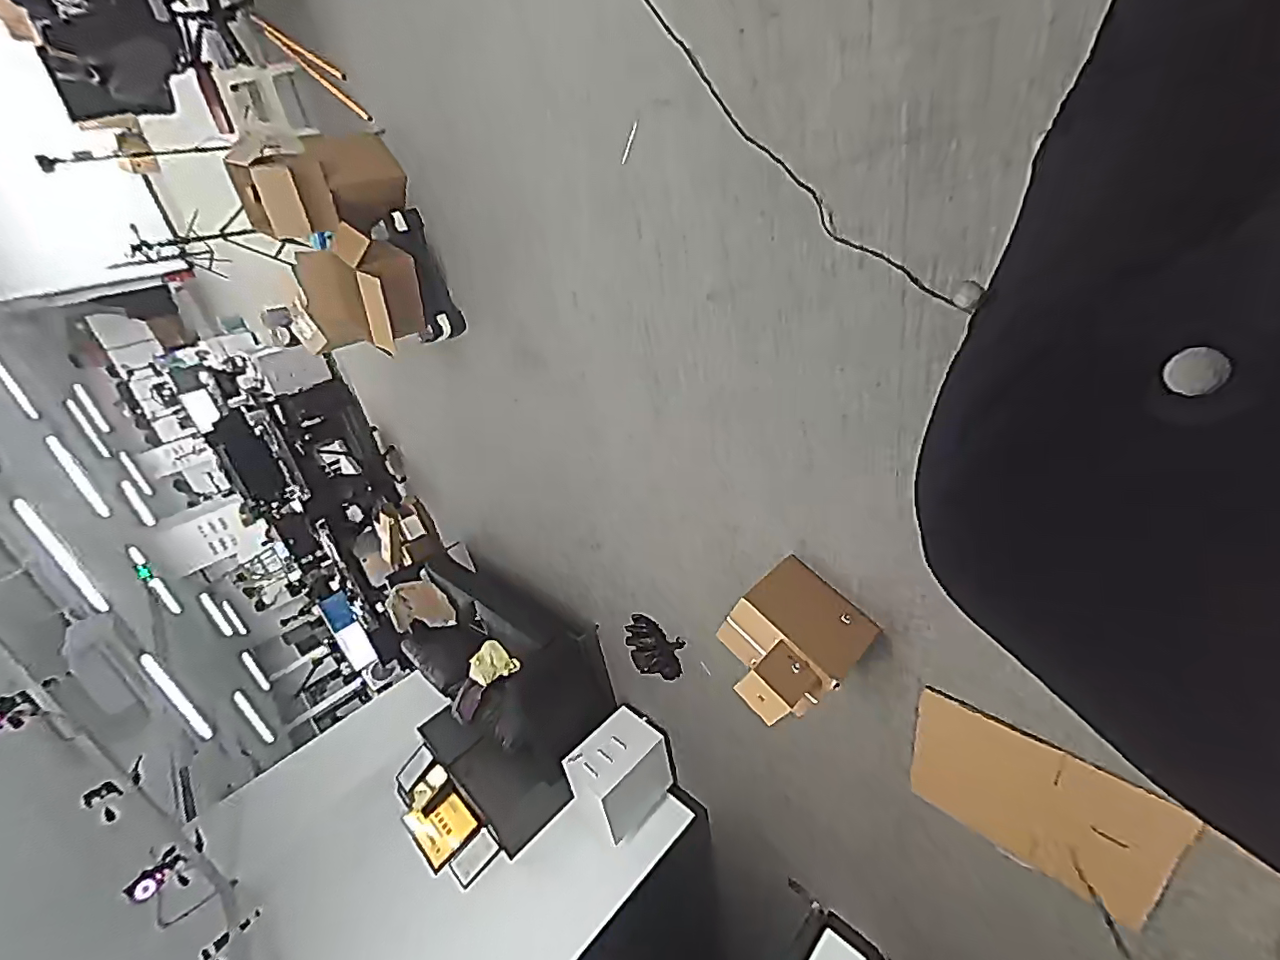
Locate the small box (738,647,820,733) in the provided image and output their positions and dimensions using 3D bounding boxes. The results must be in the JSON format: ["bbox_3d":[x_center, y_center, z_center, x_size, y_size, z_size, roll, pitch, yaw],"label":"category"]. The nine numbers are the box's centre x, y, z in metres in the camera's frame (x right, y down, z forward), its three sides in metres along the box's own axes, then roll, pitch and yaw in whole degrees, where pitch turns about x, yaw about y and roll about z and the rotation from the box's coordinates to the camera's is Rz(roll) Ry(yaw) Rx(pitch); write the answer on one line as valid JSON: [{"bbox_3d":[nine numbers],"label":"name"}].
[{"bbox_3d":[0.463,0.692,1.790,0.168,0.176,0.179,43,141,21],"label":"small box"}]
